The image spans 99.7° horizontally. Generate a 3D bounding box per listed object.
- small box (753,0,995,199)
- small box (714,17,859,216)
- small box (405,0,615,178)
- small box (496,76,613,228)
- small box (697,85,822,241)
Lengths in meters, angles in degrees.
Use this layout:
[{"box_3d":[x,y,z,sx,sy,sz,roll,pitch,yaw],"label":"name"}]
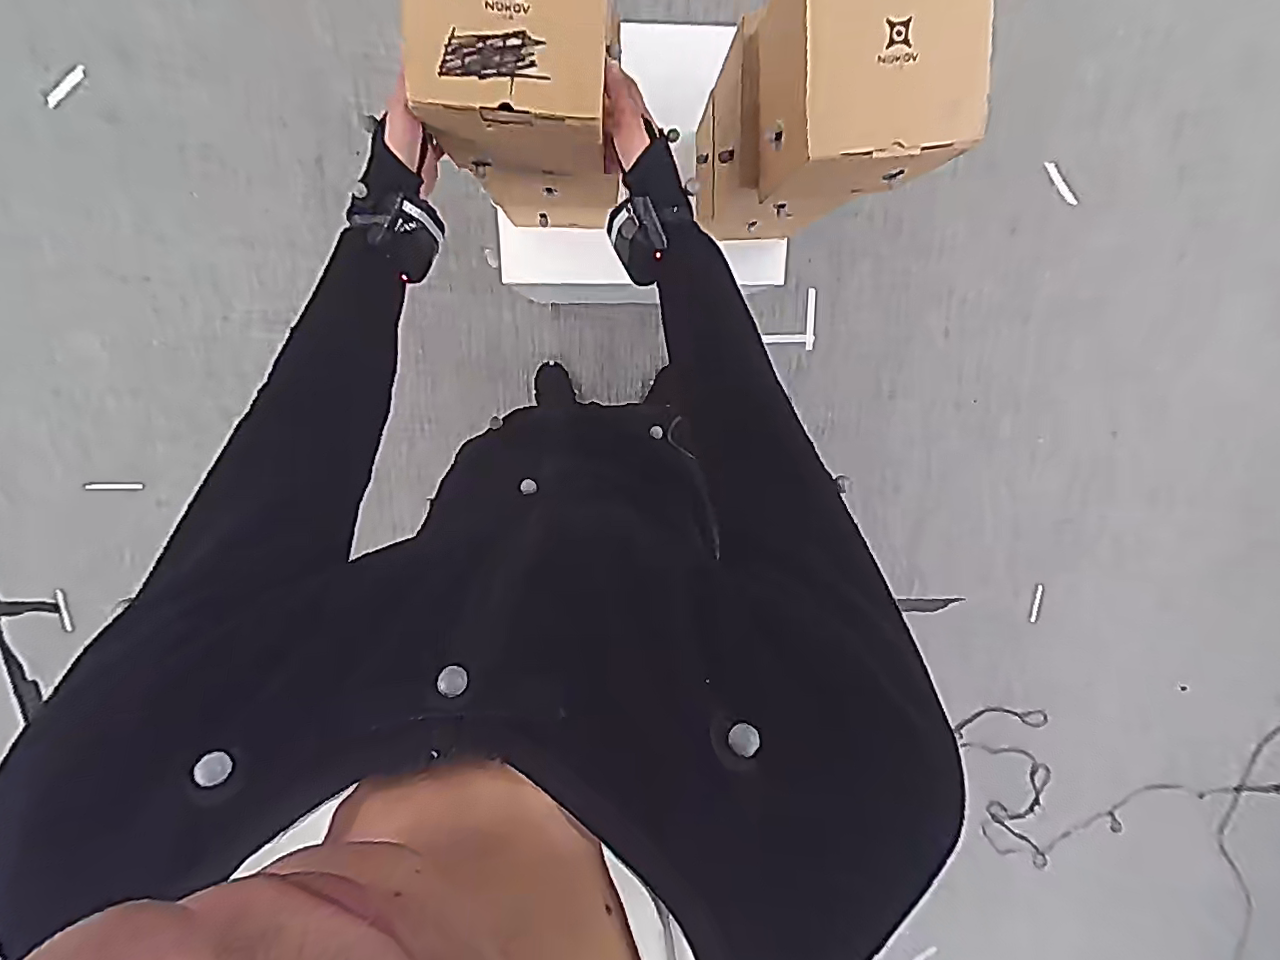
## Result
[{"box_3d":[0.216,-0.394,0.539,0.168,0.176,0.179,-7,105,-2],"label":"small box"},{"box_3d":[0.192,-0.446,0.693,0.168,0.176,0.179,-2,105,-2],"label":"small box"},{"box_3d":[-0.110,-0.410,0.514,0.168,0.176,0.179,3,103,-5],"label":"small box"},{"box_3d":[-0.125,-0.496,0.831,0.168,0.176,0.179,0,104,-4],"label":"small box"},{"box_3d":[0.182,-0.487,0.852,0.168,0.176,0.179,-3,104,-2],"label":"small box"}]
